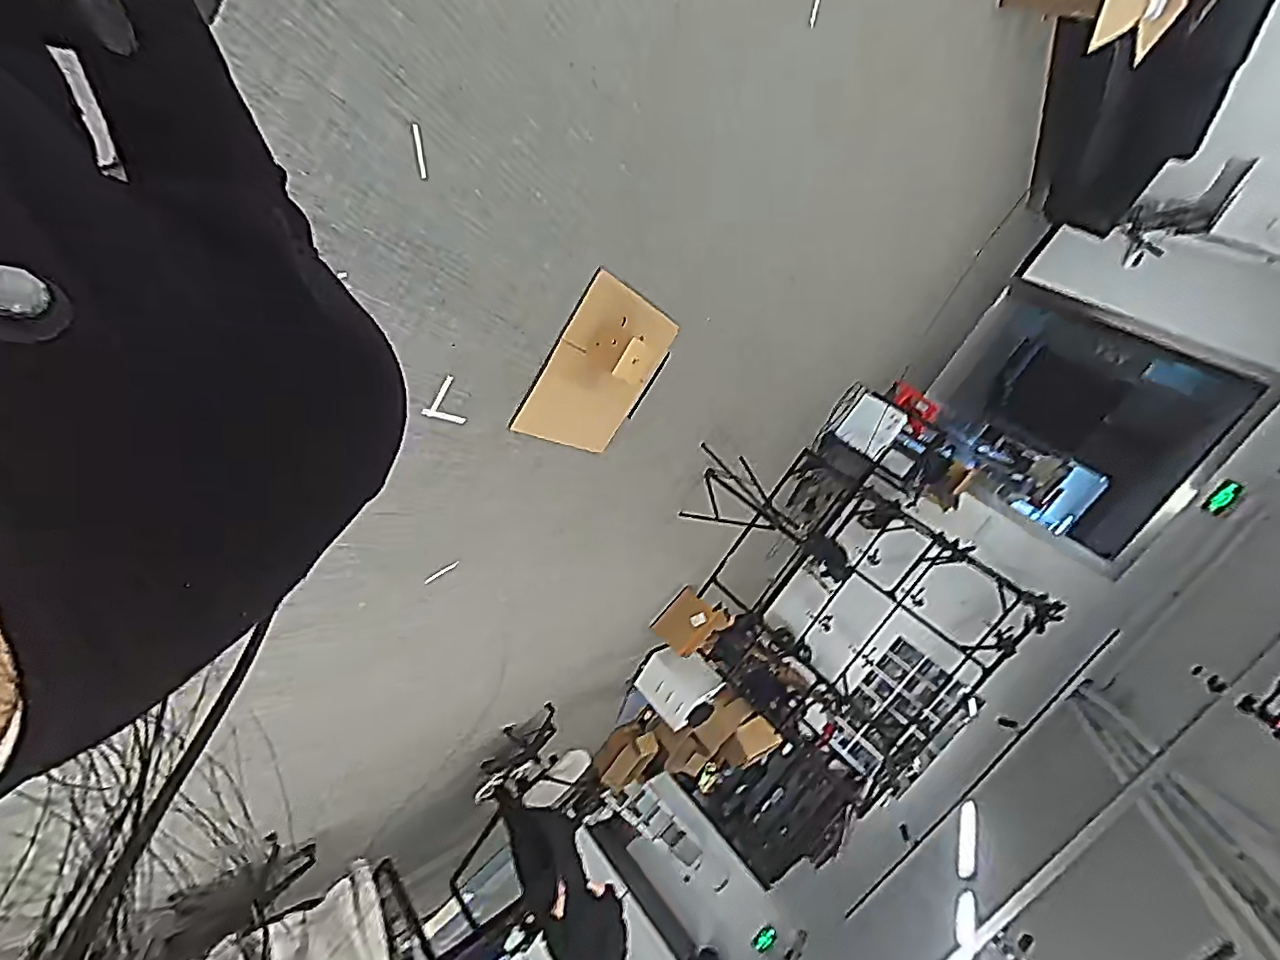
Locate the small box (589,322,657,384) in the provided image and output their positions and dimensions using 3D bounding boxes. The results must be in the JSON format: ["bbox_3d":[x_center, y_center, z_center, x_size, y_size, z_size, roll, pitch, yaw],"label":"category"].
[{"bbox_3d":[-0.072,-0.508,2.147,0.179,0.176,0.168,9,117,-56],"label":"small box"}]
